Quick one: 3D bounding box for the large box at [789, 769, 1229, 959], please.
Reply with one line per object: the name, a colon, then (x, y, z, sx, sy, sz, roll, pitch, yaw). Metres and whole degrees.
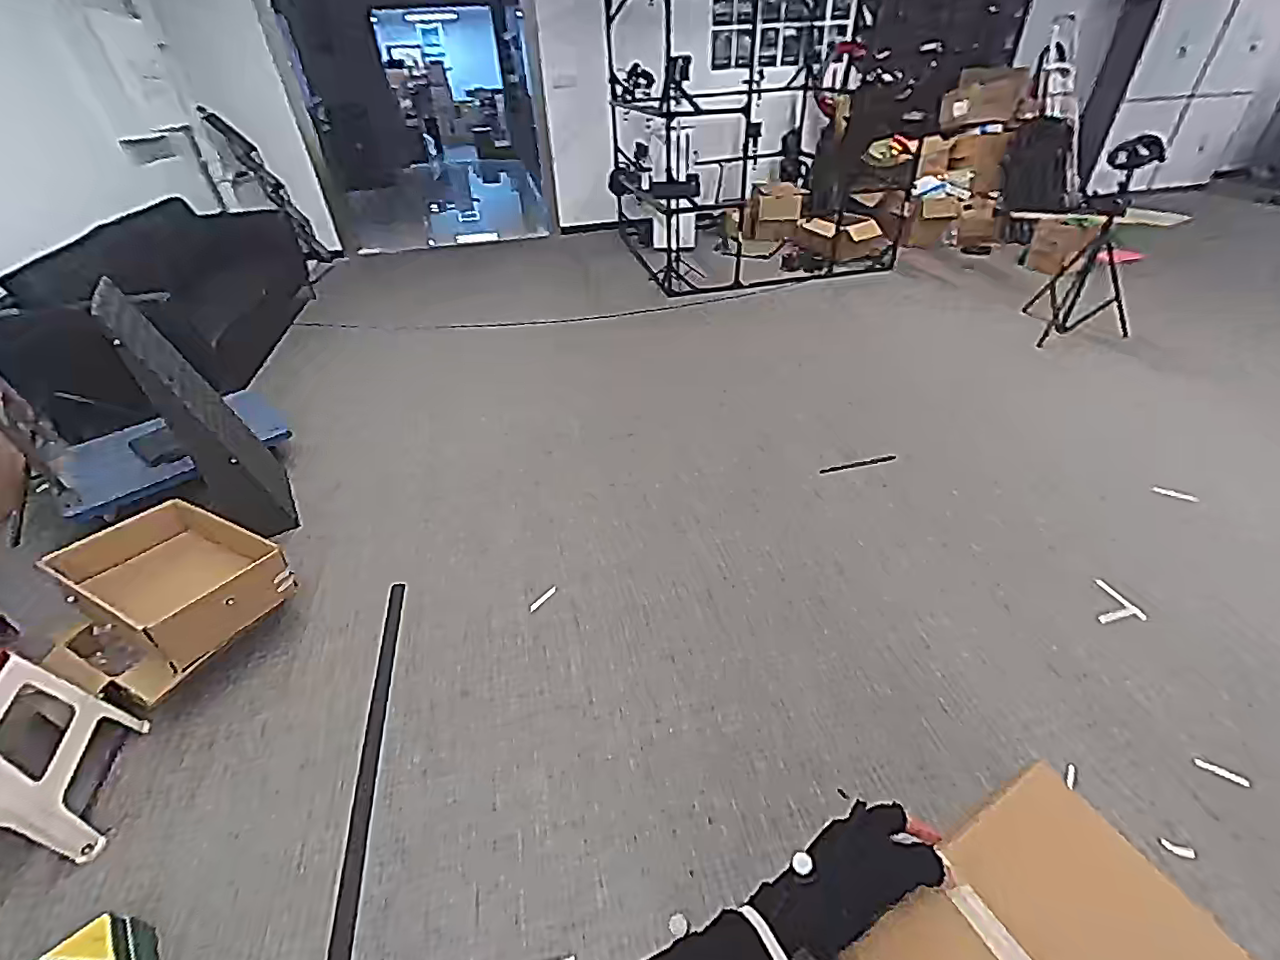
large box: (0.357, 0.561, 0.466, 0.320, 0.320, 0.408, -25, 49, -19)
